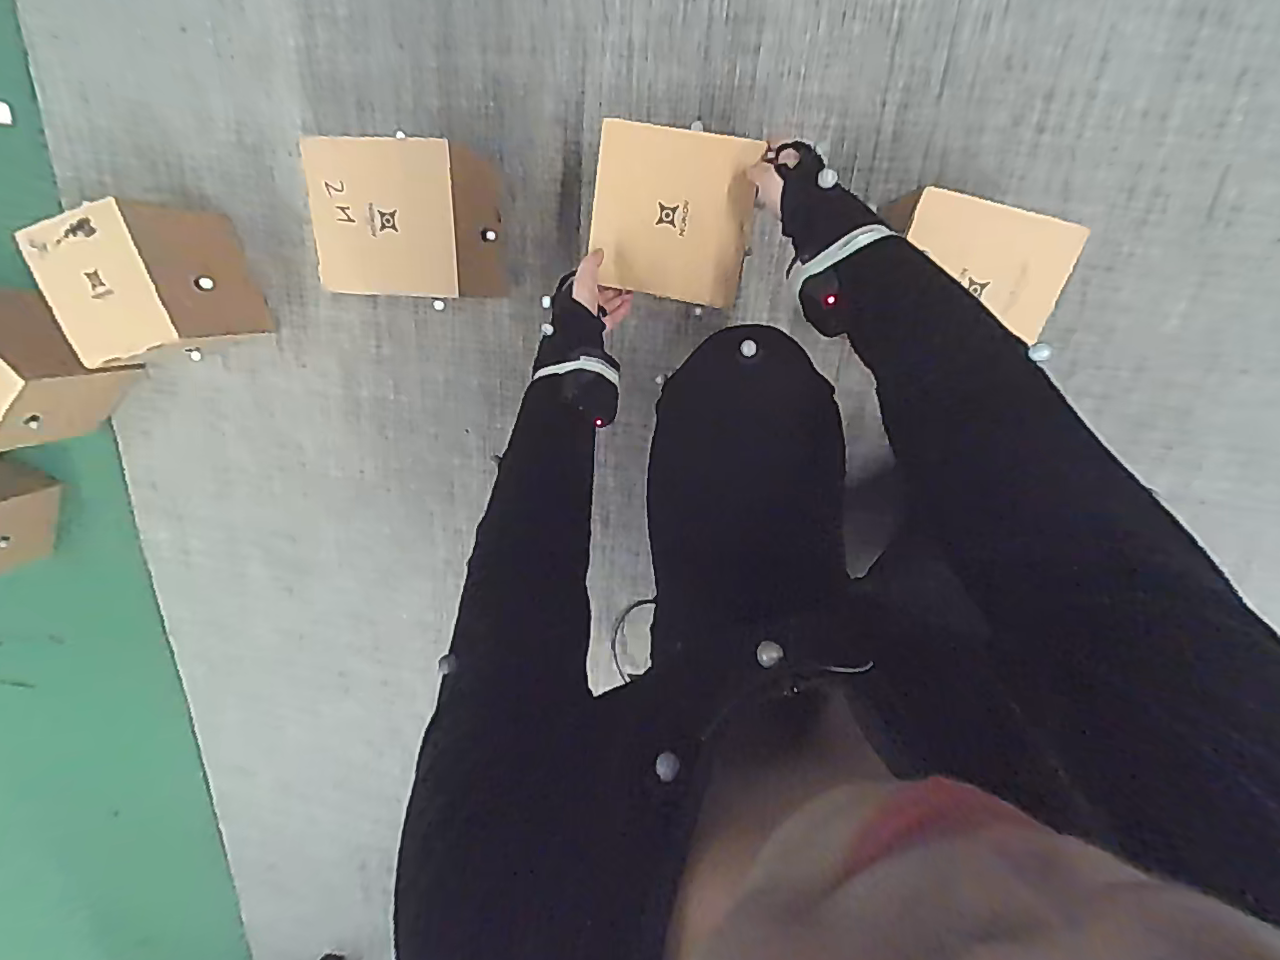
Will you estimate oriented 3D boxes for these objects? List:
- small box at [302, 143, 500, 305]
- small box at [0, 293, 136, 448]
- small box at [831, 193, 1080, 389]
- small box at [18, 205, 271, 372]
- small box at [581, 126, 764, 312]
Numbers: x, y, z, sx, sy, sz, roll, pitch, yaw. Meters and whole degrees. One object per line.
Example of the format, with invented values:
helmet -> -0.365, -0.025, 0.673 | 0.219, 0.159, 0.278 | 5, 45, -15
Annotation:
small box -> -0.287, -0.318, 0.697 | 0.179, 0.176, 0.168 | 4, 108, 5
small box -> -0.950, -0.167, 0.834 | 0.179, 0.176, 0.168 | -38, 100, 16
small box -> 0.352, -0.222, 0.650 | 0.179, 0.176, 0.168 | 16, 110, 1
small box -> -0.676, -0.266, 0.765 | 0.168, 0.176, 0.179 | -11, 107, 11
small box -> 0.038, -0.304, 0.662 | 0.179, 0.176, 0.168 | 10, 110, 2
